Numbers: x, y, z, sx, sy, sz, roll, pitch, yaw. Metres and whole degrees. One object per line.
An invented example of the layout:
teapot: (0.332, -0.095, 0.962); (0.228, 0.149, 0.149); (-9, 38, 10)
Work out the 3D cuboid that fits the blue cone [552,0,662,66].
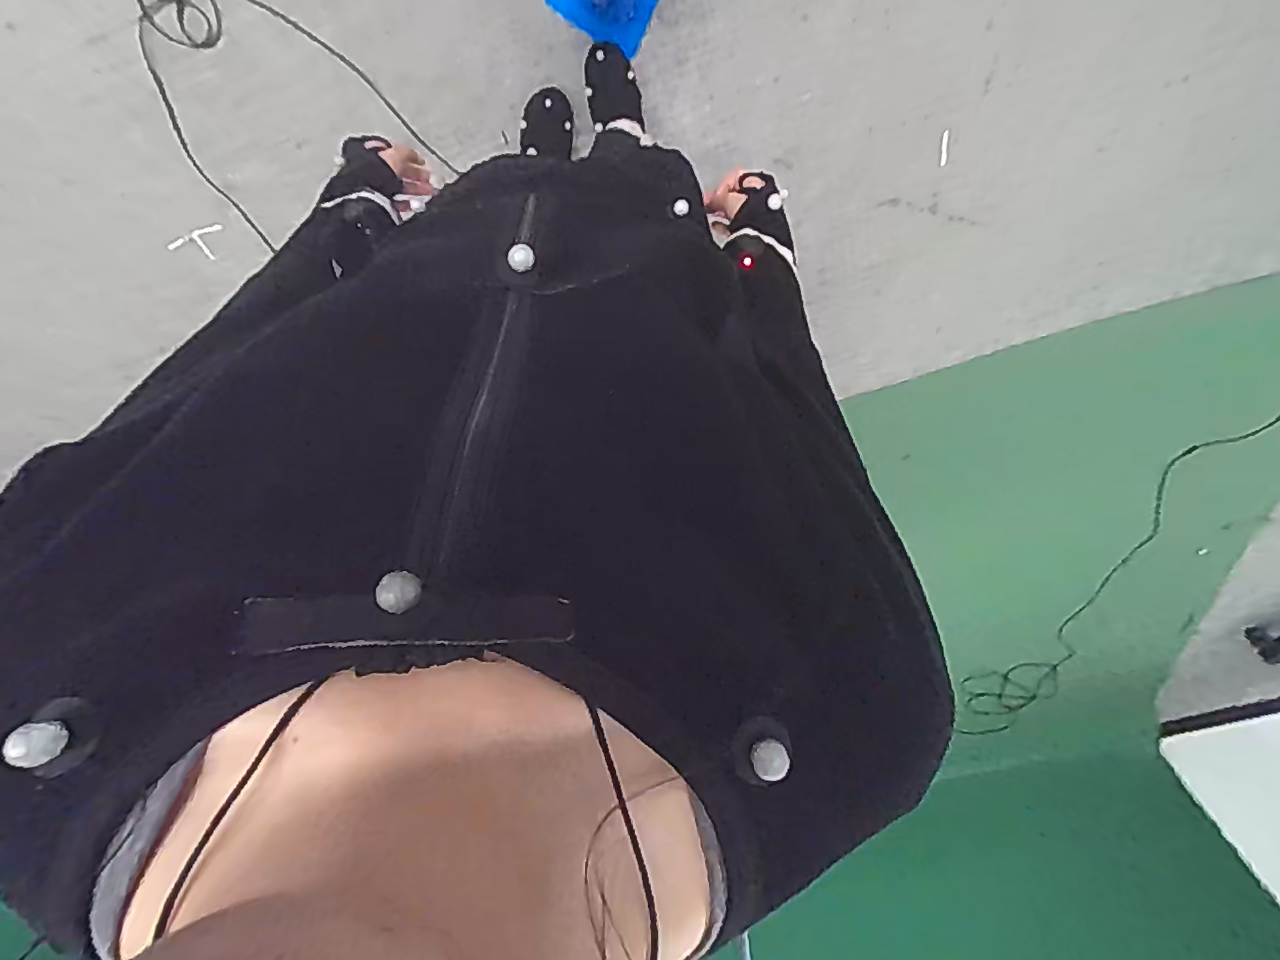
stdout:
blue cone: (-0.044, -0.821, 0.877); (0.192, 0.380, 0.193); (21, 122, -20)
